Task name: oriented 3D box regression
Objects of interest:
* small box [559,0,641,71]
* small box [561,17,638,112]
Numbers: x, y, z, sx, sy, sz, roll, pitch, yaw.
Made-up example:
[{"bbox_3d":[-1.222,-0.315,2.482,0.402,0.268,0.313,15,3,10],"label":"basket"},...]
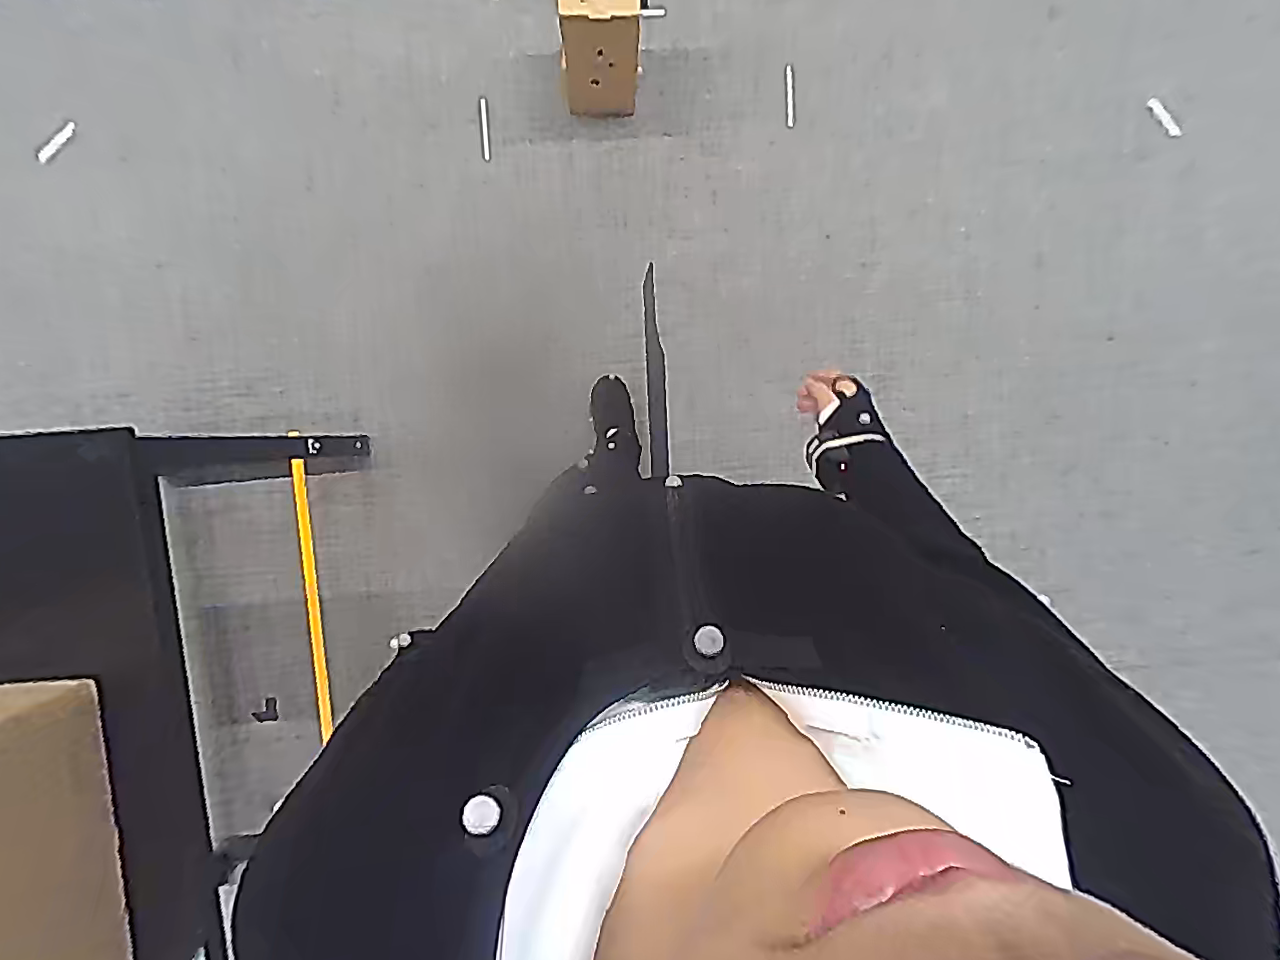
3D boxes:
[{"bbox_3d":[-0.082,-1.020,1.149,0.168,0.176,0.179,0,95,-2],"label":"small box"},{"bbox_3d":[-0.094,-1.028,1.313,0.179,0.176,0.168,0,95,-2],"label":"small box"}]
